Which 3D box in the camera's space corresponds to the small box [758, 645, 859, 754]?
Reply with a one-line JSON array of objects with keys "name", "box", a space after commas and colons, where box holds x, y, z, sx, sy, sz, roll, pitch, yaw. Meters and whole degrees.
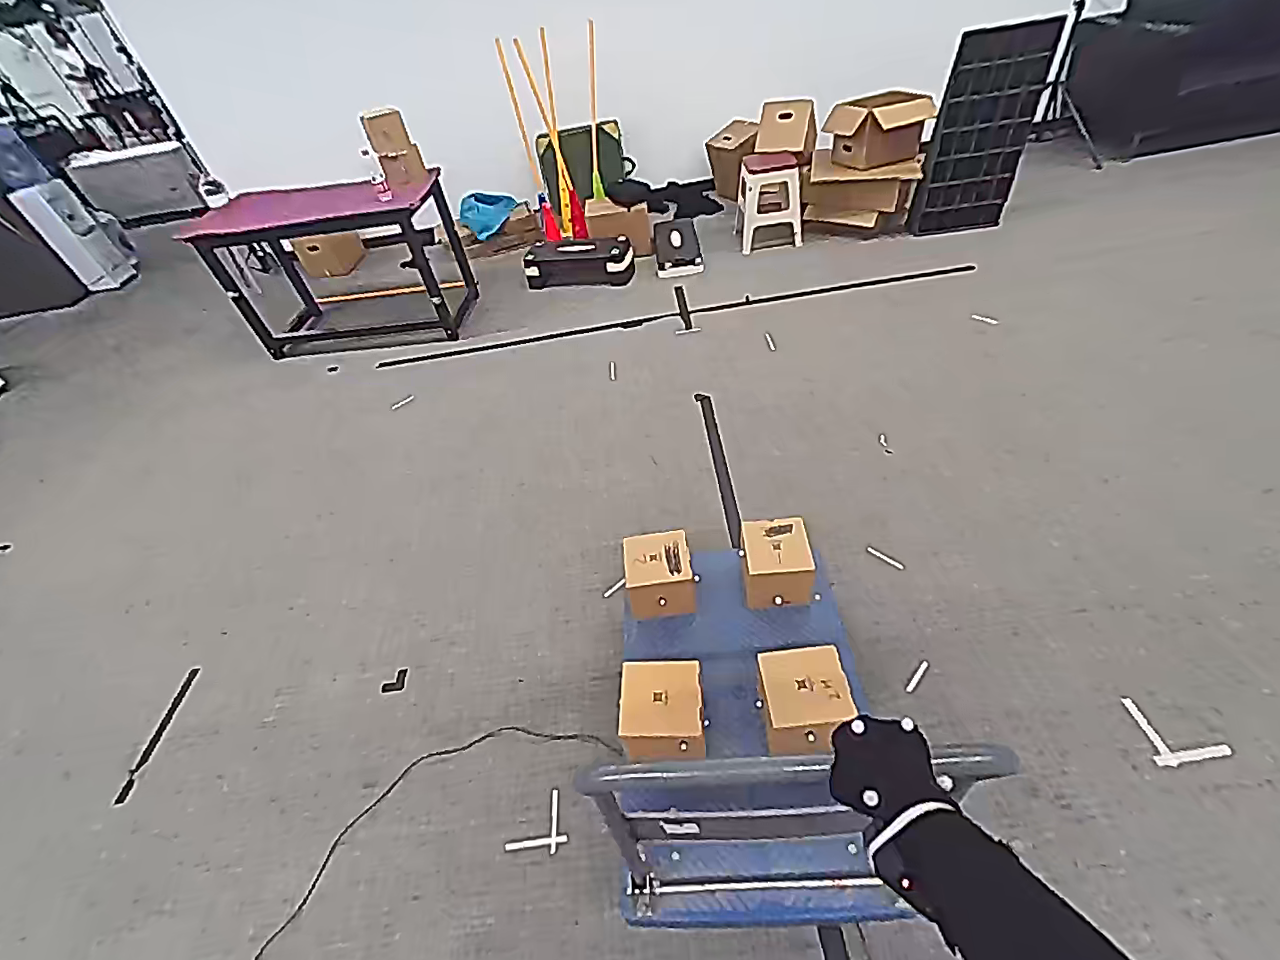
[{"name": "small box", "box": [0.364, 0.490, 1.200, 0.179, 0.176, 0.168, -8, 44, 3]}]

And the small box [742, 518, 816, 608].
[{"name": "small box", "box": [0.368, 0.226, 1.468, 0.168, 0.176, 0.179, -5, 45, 5]}]

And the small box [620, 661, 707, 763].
[{"name": "small box", "box": [0.057, 0.527, 1.224, 0.179, 0.176, 0.168, -3, 44, 6]}]
